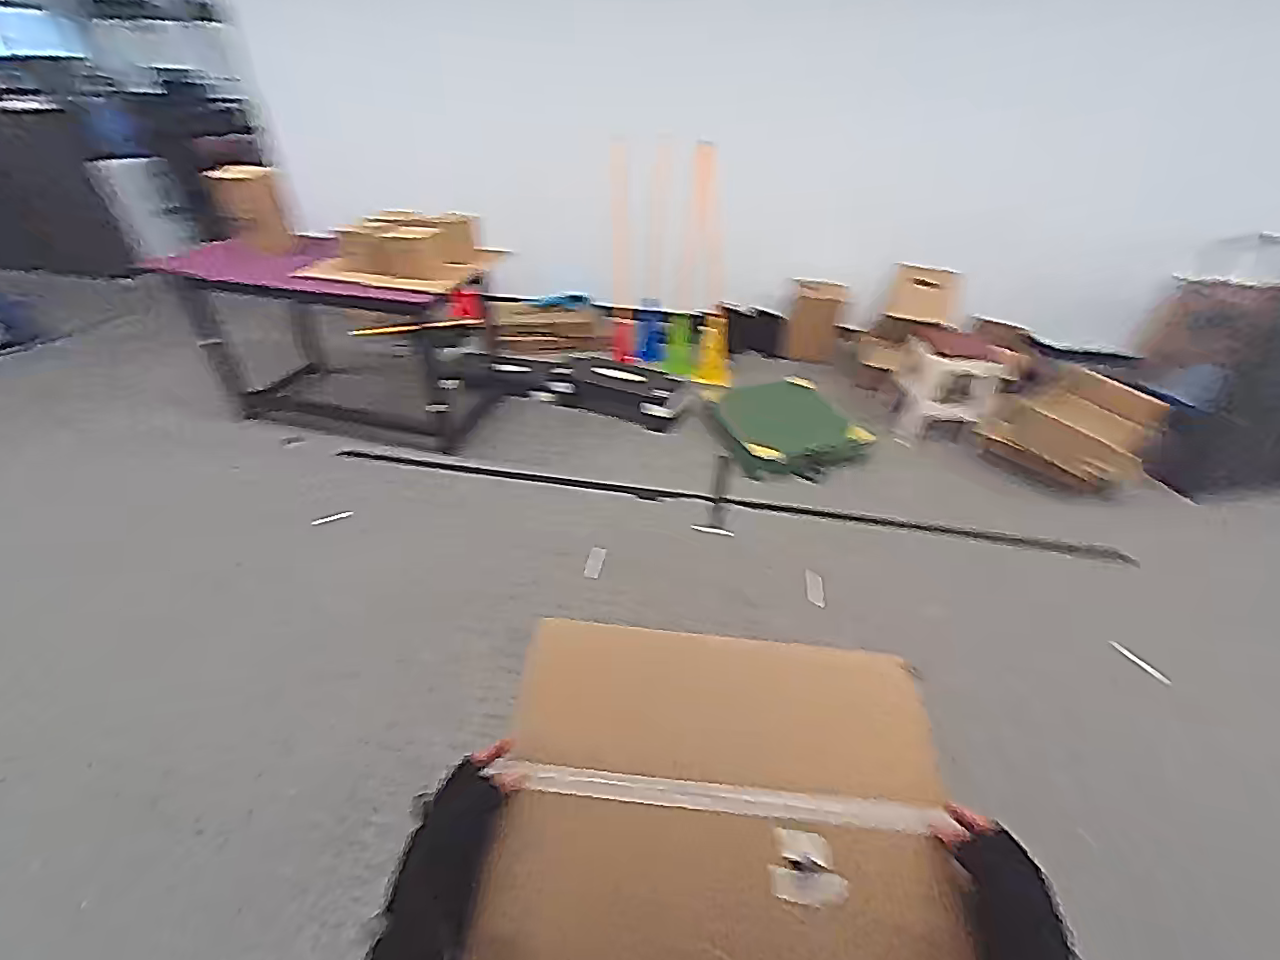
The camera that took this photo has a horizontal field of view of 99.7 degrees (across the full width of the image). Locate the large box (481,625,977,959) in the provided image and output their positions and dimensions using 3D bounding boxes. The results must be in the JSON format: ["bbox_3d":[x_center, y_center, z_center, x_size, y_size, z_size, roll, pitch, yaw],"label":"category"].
[{"bbox_3d":[0.076,0.394,0.616,0.408,0.320,0.320,6,48,2],"label":"large box"}]
